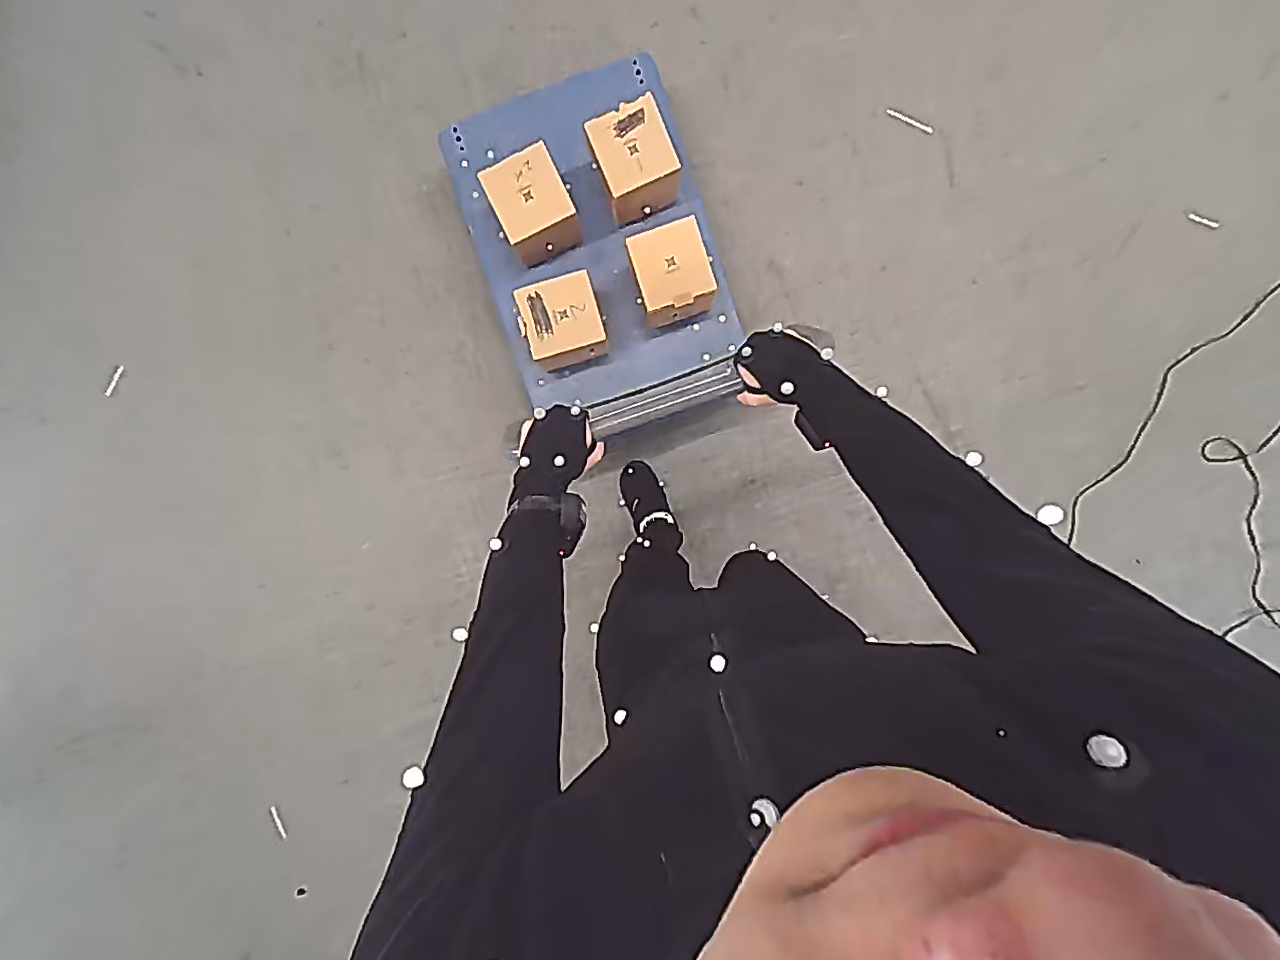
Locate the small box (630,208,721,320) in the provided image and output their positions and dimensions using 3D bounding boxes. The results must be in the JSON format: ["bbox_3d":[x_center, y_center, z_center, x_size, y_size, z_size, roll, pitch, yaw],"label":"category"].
[{"bbox_3d":[0.078,-0.502,1.282,0.168,0.176,0.179,-19,94,2],"label":"small box"}]

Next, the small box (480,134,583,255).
[{"bbox_3d":[-0.245,-0.656,1.273,0.168,0.176,0.179,-25,93,2],"label":"small box"}]

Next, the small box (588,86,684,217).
[{"bbox_3d":[-0.009,-0.756,1.263,0.168,0.176,0.179,-23,94,3],"label":"small box"}]
